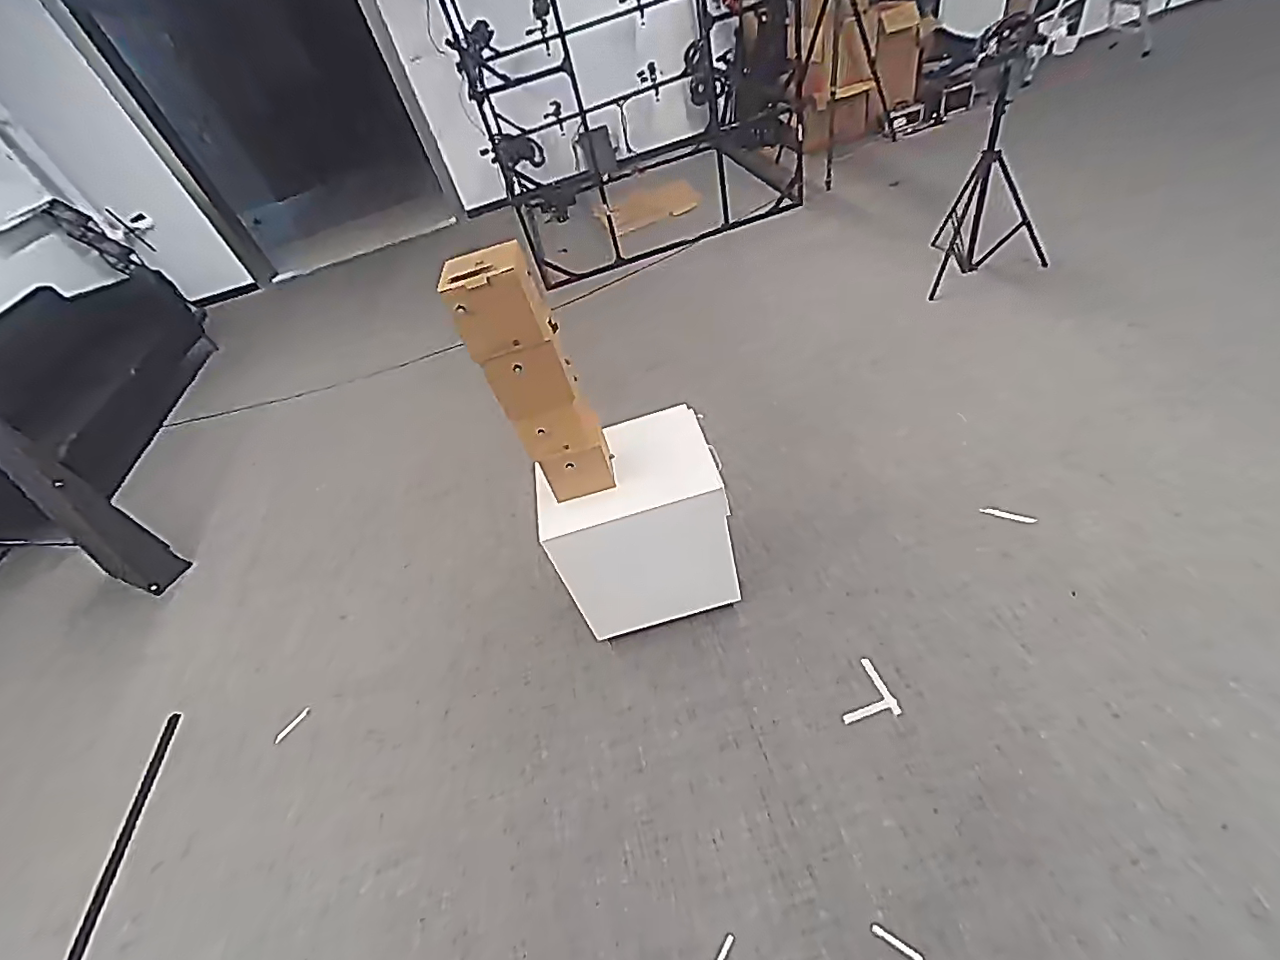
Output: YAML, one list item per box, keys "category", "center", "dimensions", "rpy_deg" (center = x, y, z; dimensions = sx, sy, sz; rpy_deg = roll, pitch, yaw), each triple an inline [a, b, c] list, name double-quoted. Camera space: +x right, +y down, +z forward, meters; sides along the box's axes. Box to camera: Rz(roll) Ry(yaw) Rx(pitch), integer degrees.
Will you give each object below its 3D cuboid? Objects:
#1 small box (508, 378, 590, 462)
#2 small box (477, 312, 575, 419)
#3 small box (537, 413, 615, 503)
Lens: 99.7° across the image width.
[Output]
- category: "small box"
  center: [-0.234, -0.165, 1.422]
  dimensions: [0.168, 0.176, 0.179]
  rpy_deg: [-15, 43, 4]
- category: "small box"
  center: [-0.270, -0.270, 1.299]
  dimensions: [0.179, 0.176, 0.168]
  rpy_deg: [-16, 44, 2]
- category: "small box"
  center: [-0.181, -0.059, 1.533]
  dimensions: [0.179, 0.176, 0.168]
  rpy_deg: [-15, 44, 2]
